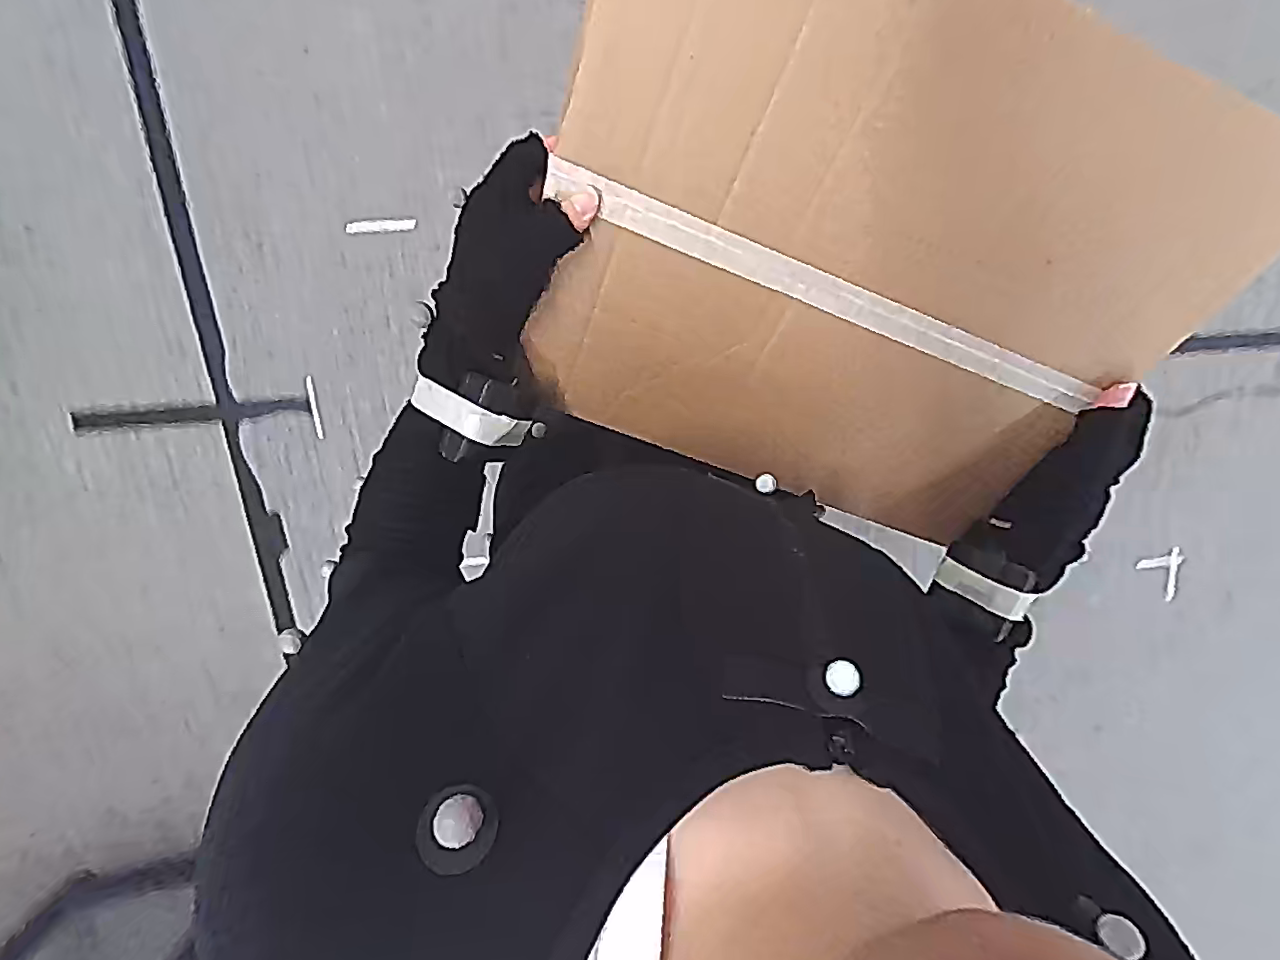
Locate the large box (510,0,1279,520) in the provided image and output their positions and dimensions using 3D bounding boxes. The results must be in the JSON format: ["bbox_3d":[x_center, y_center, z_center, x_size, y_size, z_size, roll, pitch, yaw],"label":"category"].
[{"bbox_3d":[0.142,-0.219,0.472,0.408,0.320,0.320,17,129,-9],"label":"large box"}]
